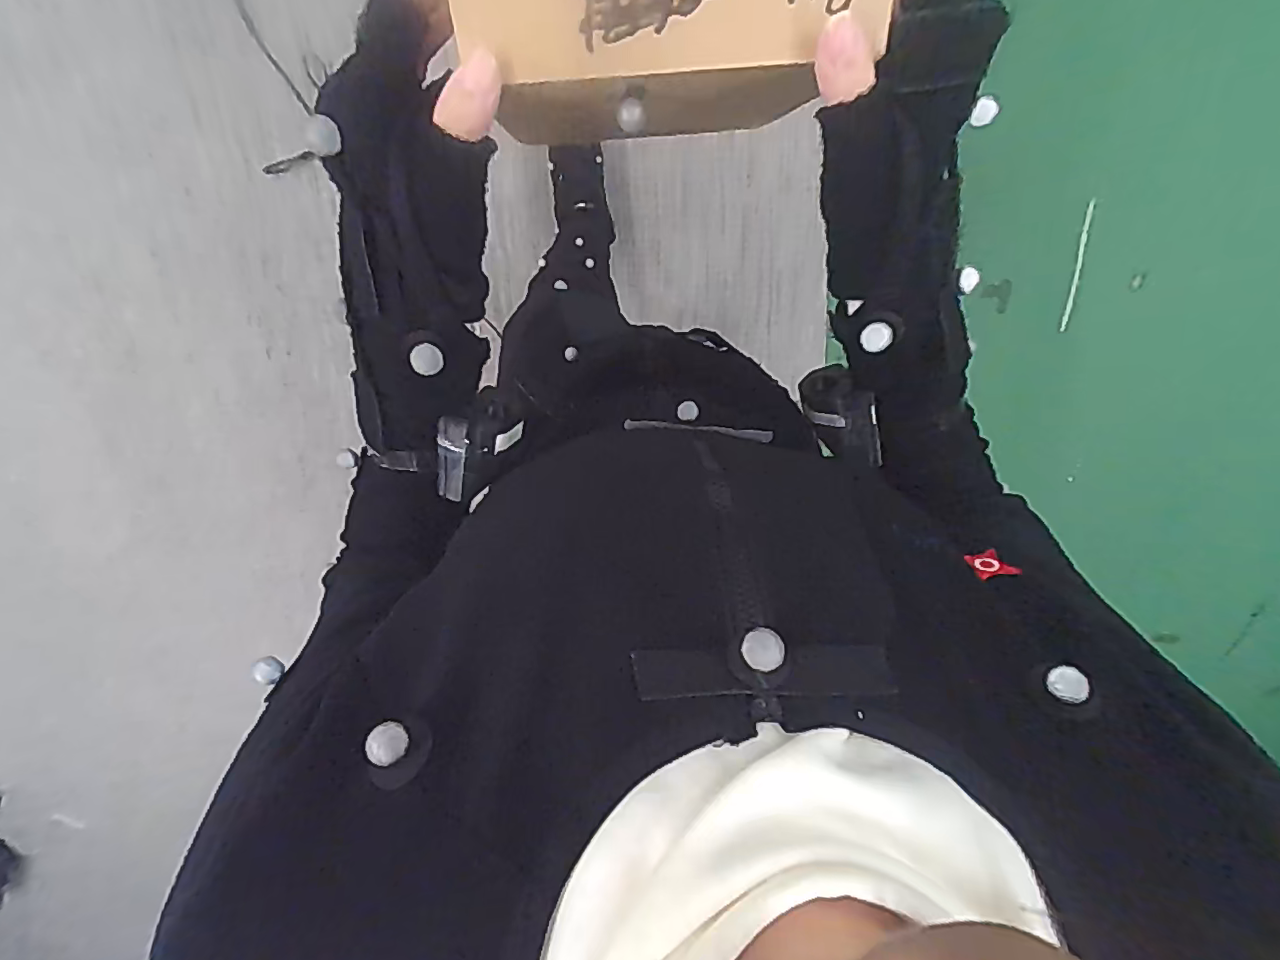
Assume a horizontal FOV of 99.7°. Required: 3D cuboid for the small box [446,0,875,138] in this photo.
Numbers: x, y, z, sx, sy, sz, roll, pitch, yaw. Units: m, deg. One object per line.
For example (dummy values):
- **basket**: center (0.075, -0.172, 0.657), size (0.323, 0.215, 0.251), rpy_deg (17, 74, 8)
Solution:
- **small box**: center (-0.001, -0.277, 0.248), size (0.168, 0.176, 0.179), rpy_deg (-5, 115, -2)
